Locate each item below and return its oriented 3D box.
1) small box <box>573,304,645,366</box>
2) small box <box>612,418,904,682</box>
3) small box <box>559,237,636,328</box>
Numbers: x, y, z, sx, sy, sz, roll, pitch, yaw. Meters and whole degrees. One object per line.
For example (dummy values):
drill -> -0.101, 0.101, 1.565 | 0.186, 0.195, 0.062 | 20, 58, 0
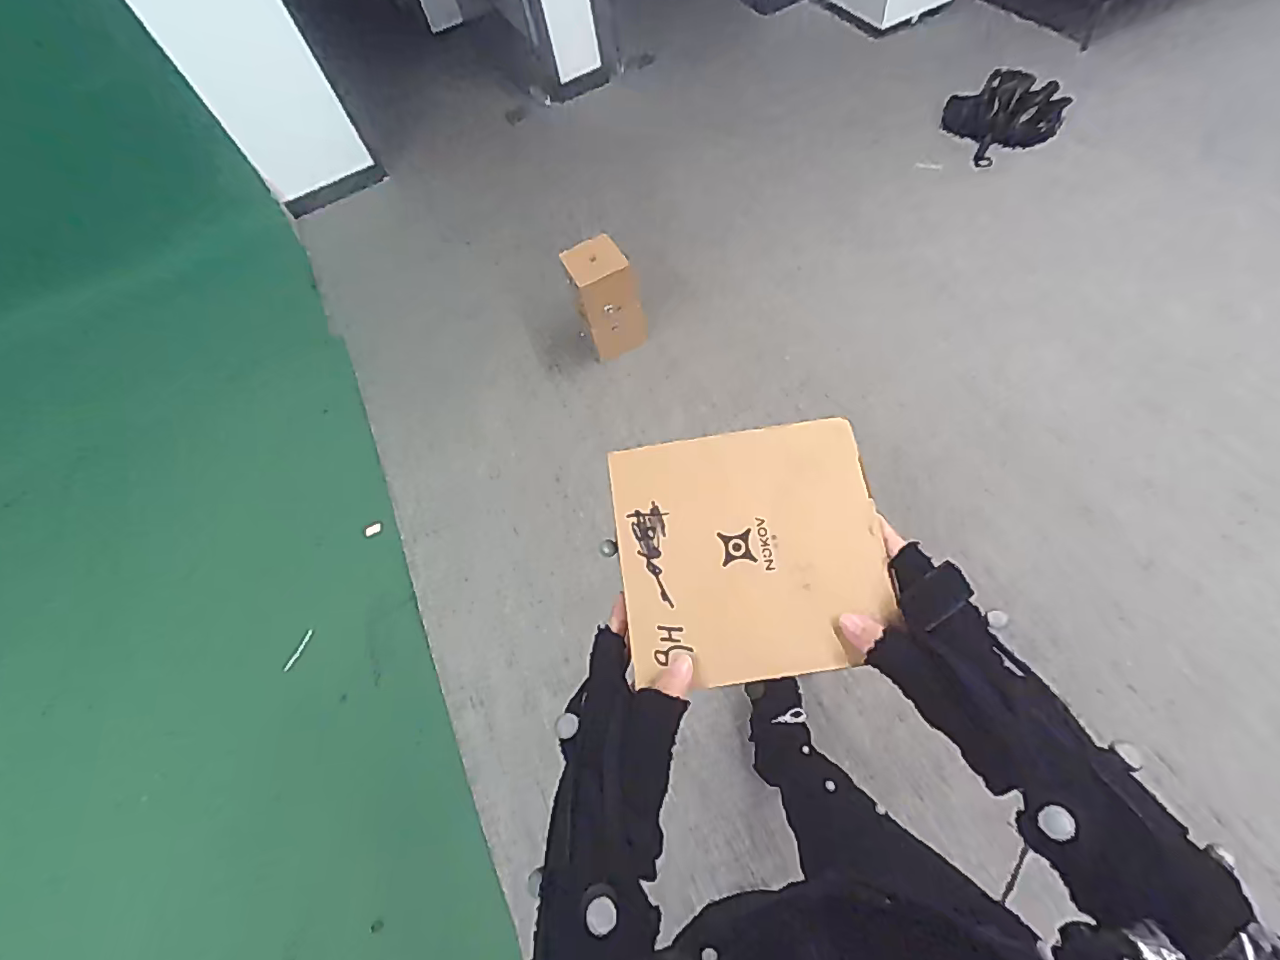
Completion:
small box -> -0.101, -0.519, 1.835 | 0.179, 0.176, 0.168 | -26, 61, -6
small box -> 0.076, 0.067, 0.441 | 0.179, 0.176, 0.168 | -7, 70, 0
small box -> -0.129, -0.610, 1.684 | 0.168, 0.176, 0.179 | -28, 62, -5
